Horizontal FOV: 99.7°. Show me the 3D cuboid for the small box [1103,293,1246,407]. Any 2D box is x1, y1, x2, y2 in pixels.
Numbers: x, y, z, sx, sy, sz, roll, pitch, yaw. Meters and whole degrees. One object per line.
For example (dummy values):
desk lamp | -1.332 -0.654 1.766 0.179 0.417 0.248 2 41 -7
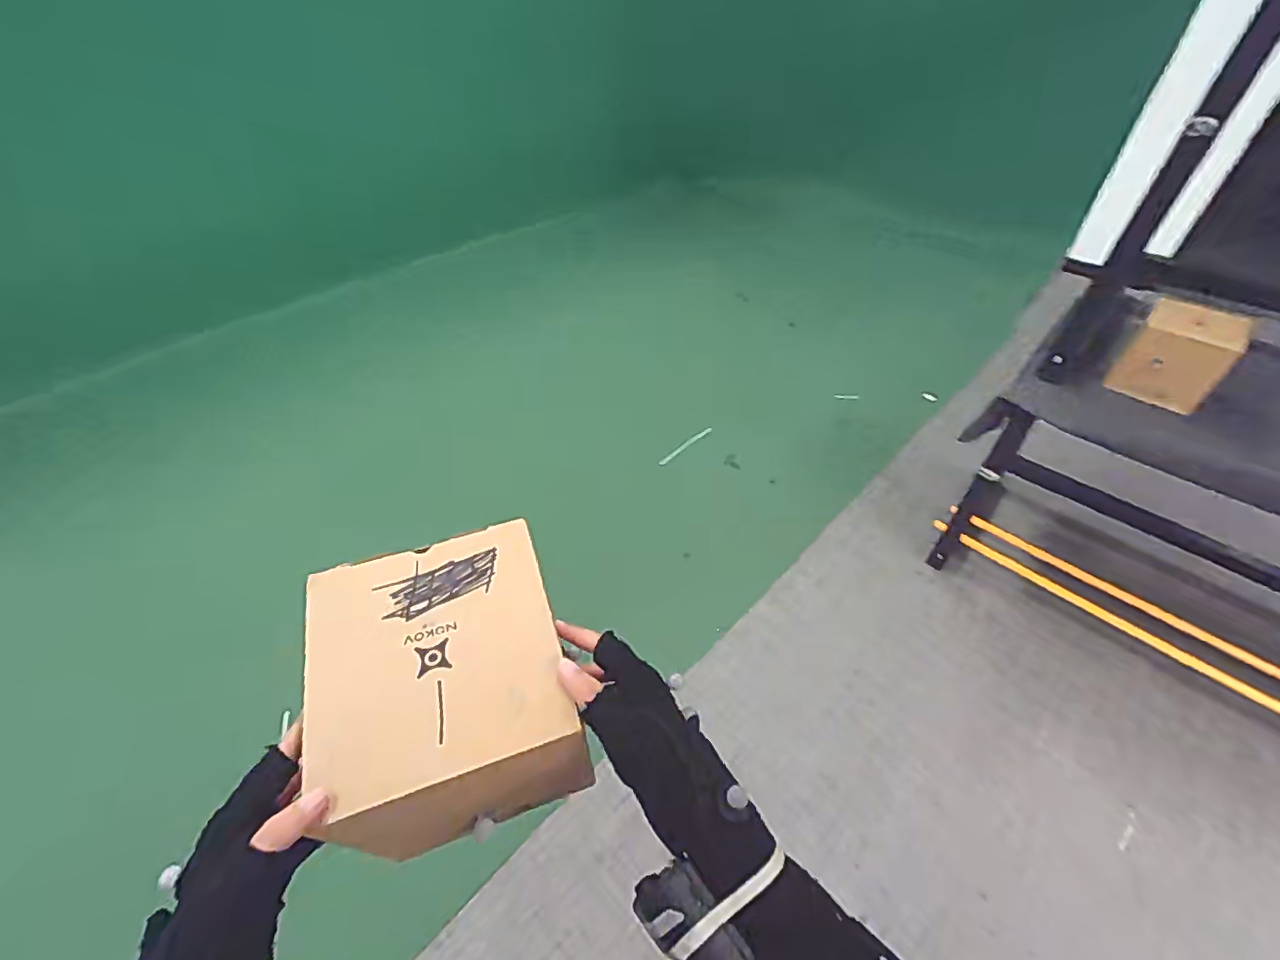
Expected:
small box | 1.200 -0.293 1.224 0.168 0.176 0.179 32 53 29
